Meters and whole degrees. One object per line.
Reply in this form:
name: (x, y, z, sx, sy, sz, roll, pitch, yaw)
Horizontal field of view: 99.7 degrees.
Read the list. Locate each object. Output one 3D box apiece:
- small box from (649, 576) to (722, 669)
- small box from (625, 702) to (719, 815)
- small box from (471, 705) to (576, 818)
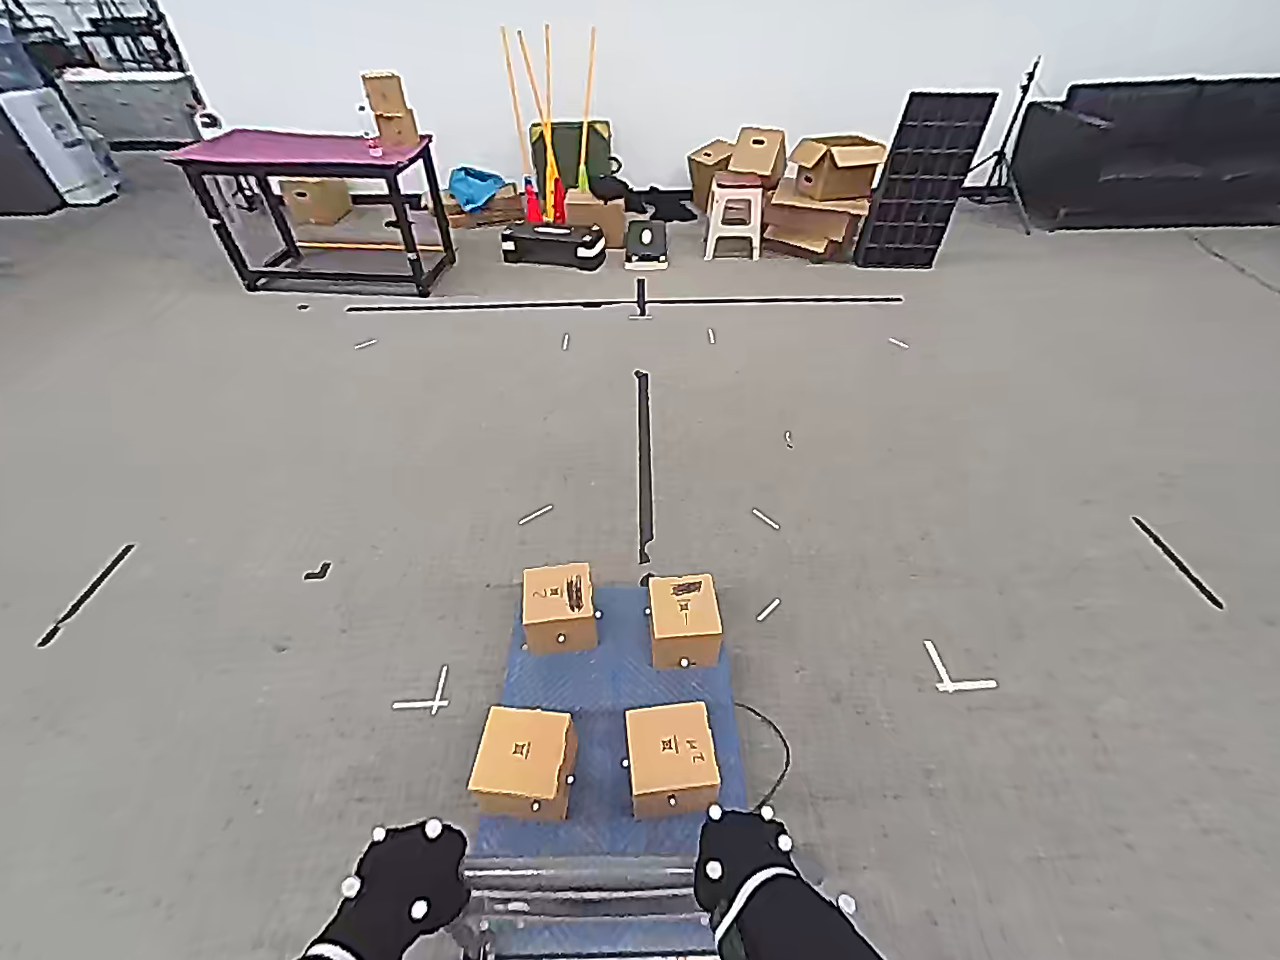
small box: (0.112, 0.372, 1.411, 0.168, 0.176, 0.179, -3, 45, -3)
small box: (0.065, 0.604, 1.170, 0.179, 0.176, 0.168, -5, 44, -4)
small box: (-0.241, 0.610, 1.168, 0.179, 0.176, 0.168, 5, 44, 3)
